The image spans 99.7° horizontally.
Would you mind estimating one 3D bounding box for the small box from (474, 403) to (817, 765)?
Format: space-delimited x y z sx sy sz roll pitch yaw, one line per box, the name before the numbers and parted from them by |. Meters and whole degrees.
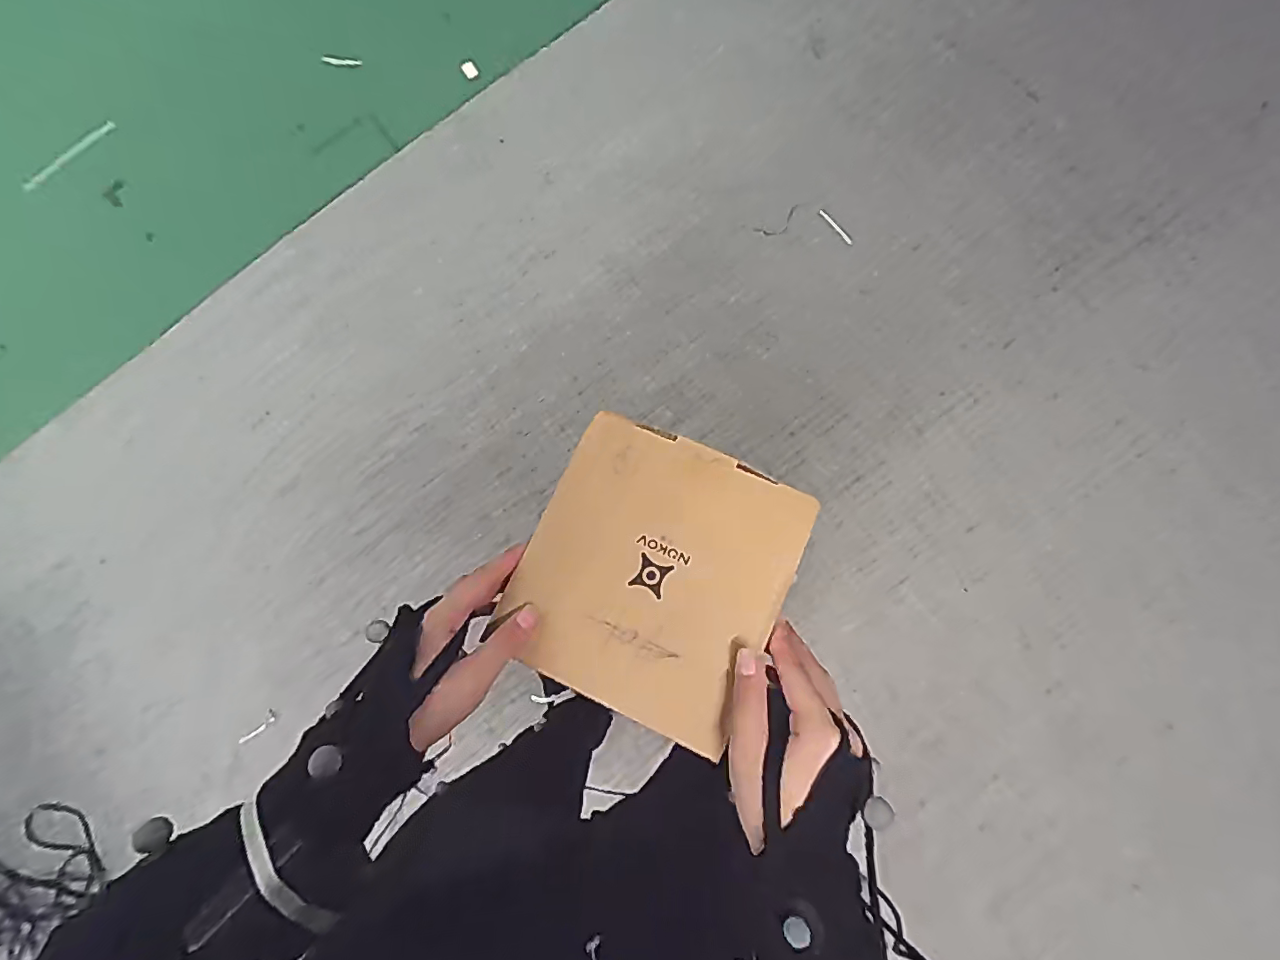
small box | 0.009 0.074 0.413 0.168 0.176 0.179 23 80 10
